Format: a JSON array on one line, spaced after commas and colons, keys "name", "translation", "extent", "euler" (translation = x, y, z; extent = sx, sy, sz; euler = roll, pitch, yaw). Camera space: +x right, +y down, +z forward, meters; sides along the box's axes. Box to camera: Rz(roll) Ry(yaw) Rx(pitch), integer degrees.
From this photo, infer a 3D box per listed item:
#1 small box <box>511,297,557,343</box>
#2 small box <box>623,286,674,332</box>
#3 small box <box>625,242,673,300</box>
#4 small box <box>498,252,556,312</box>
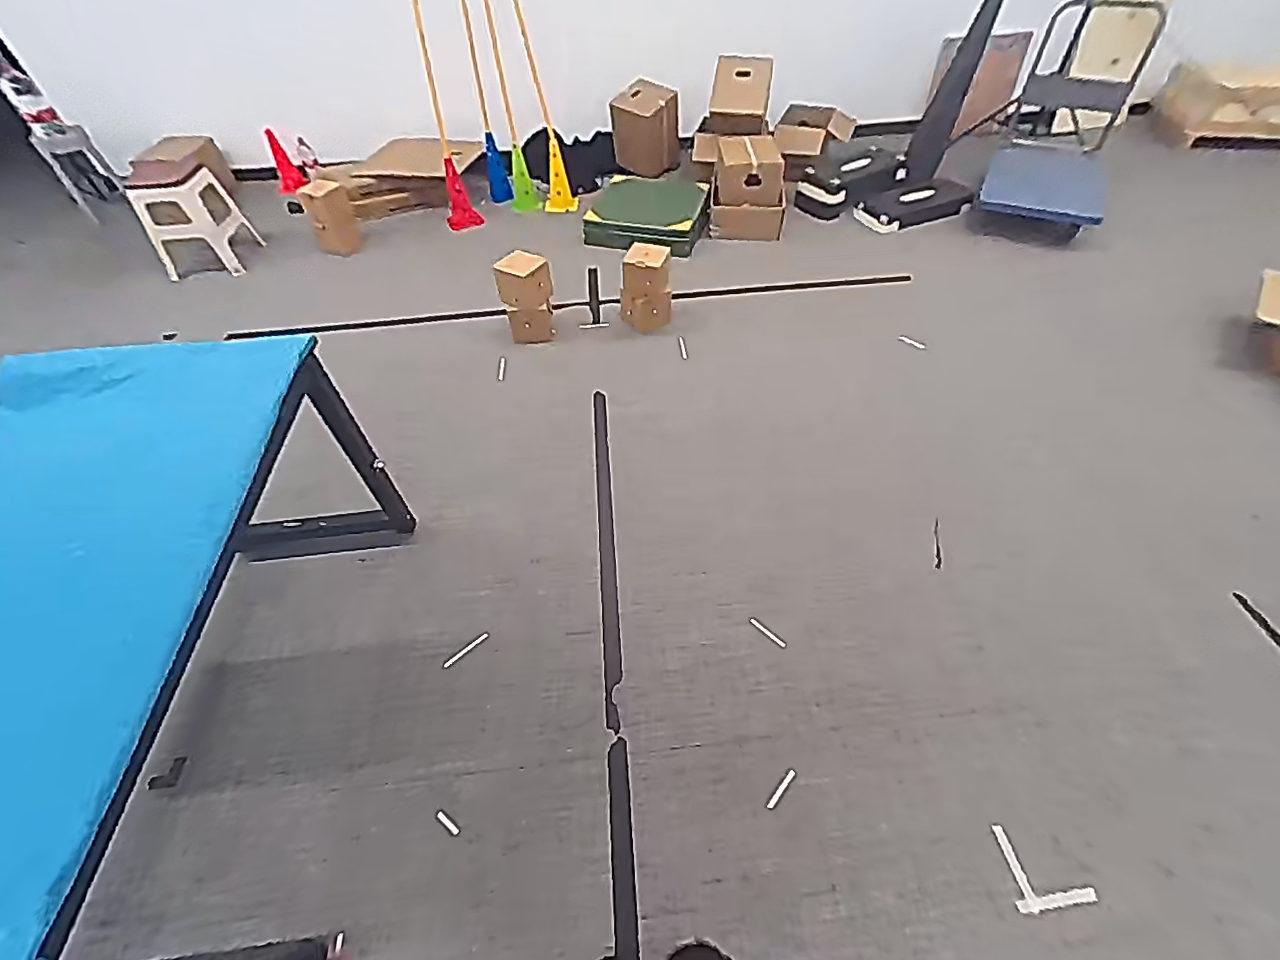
[{"name": "small box", "translation": [-0.478, -0.745, 2.461], "extent": [0.179, 0.176, 0.168], "euler": [-4, 49, 0]}, {"name": "small box", "translation": [0.042, -0.812, 2.496], "extent": [0.179, 0.176, 0.168], "euler": [-32, 56, -23]}, {"name": "small box", "translation": [0.043, -0.909, 2.360], "extent": [0.168, 0.176, 0.179], "euler": [14, 52, 12]}, {"name": "small box", "translation": [-0.488, -0.862, 2.341], "extent": [0.179, 0.176, 0.168], "euler": [22, 54, 18]}]
